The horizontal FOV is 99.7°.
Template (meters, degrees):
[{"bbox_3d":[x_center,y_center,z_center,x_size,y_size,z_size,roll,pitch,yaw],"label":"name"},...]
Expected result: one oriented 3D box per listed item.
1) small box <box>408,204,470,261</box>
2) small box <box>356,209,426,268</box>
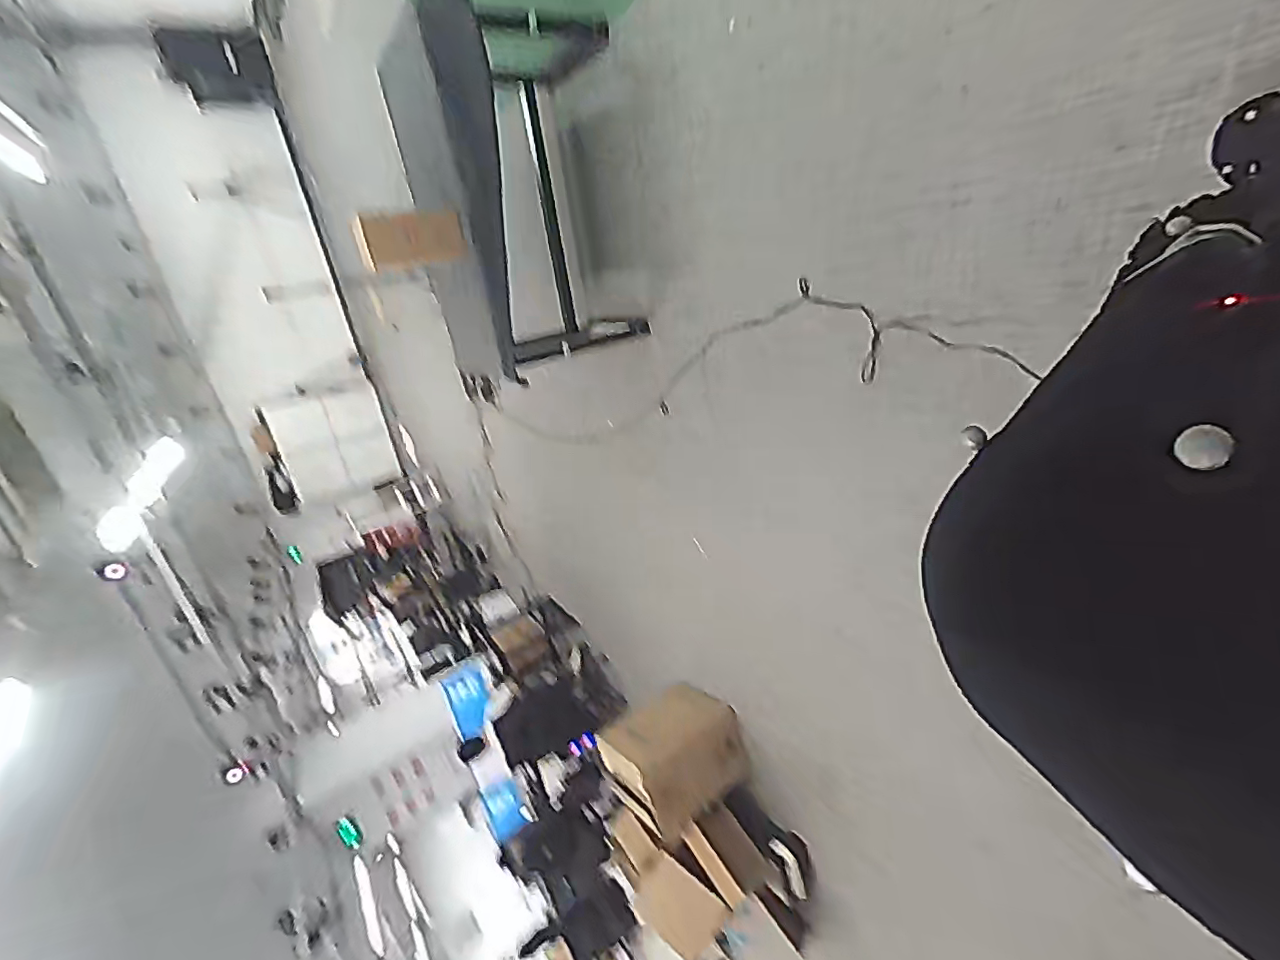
[{"bbox_3d":[-0.754,-0.921,2.012,0.168,0.176,0.179,20,125,54],"label":"small box"},{"bbox_3d":[-0.890,-0.867,1.938,0.168,0.176,0.179,24,129,53],"label":"small box"}]
